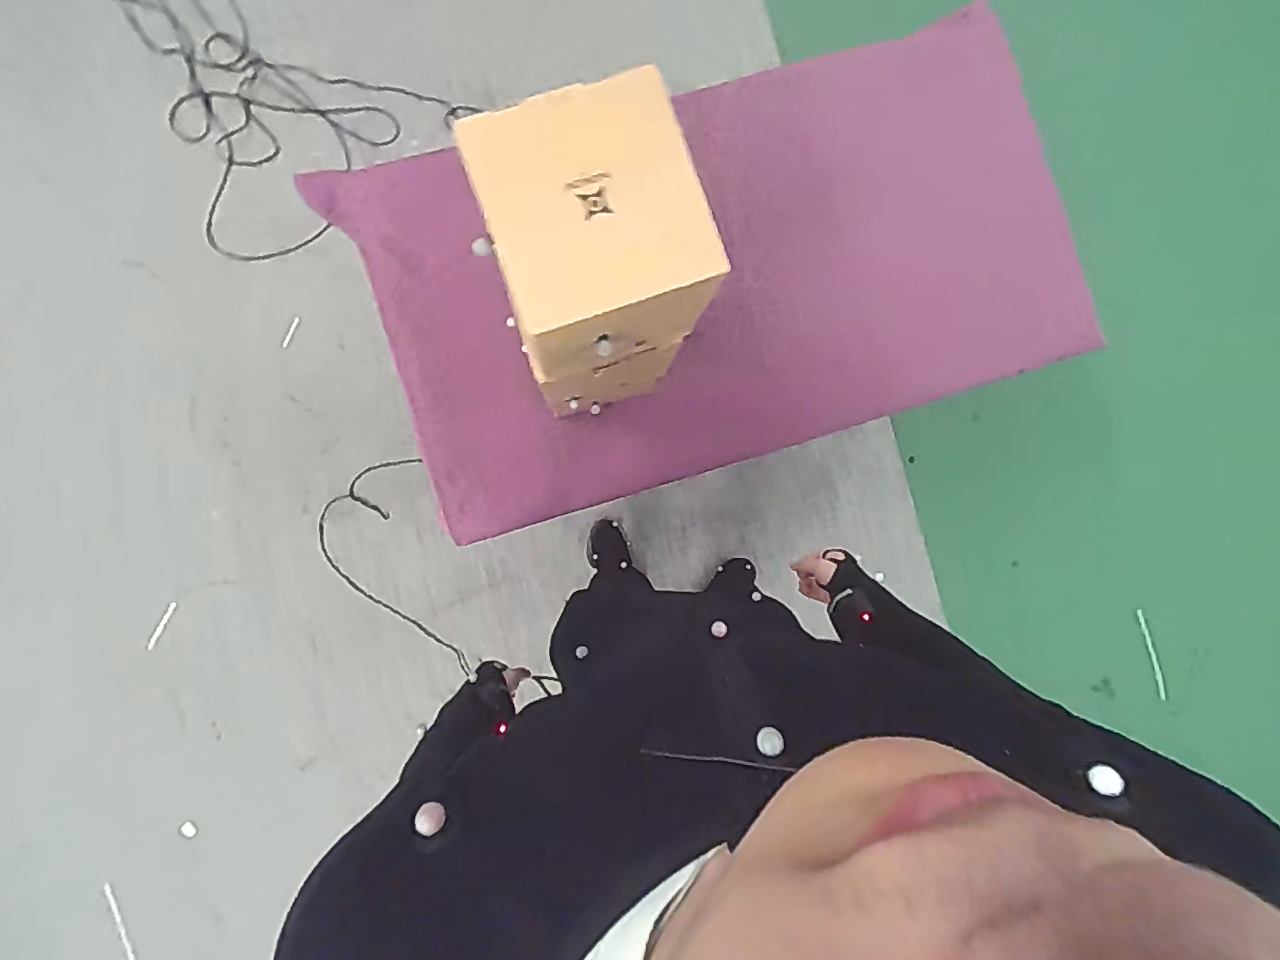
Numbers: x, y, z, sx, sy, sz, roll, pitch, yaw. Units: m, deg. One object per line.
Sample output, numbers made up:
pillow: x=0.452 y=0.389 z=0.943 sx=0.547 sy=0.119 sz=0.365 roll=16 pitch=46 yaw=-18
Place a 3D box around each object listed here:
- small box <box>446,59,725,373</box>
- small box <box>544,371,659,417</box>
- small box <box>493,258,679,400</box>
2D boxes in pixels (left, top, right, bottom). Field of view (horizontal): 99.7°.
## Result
small box: x=-0.044 y=-0.207 z=0.481 sx=0.168 sy=0.176 sz=0.179 roll=-21 pitch=89 yaw=-5
small box: x=-0.082 y=-0.207 z=0.804 sx=0.168 sy=0.176 sz=0.179 roll=-18 pitch=91 yaw=-6
small box: x=-0.064 y=-0.202 z=0.642 sx=0.168 sy=0.176 sz=0.179 roll=-18 pitch=89 yaw=-6
